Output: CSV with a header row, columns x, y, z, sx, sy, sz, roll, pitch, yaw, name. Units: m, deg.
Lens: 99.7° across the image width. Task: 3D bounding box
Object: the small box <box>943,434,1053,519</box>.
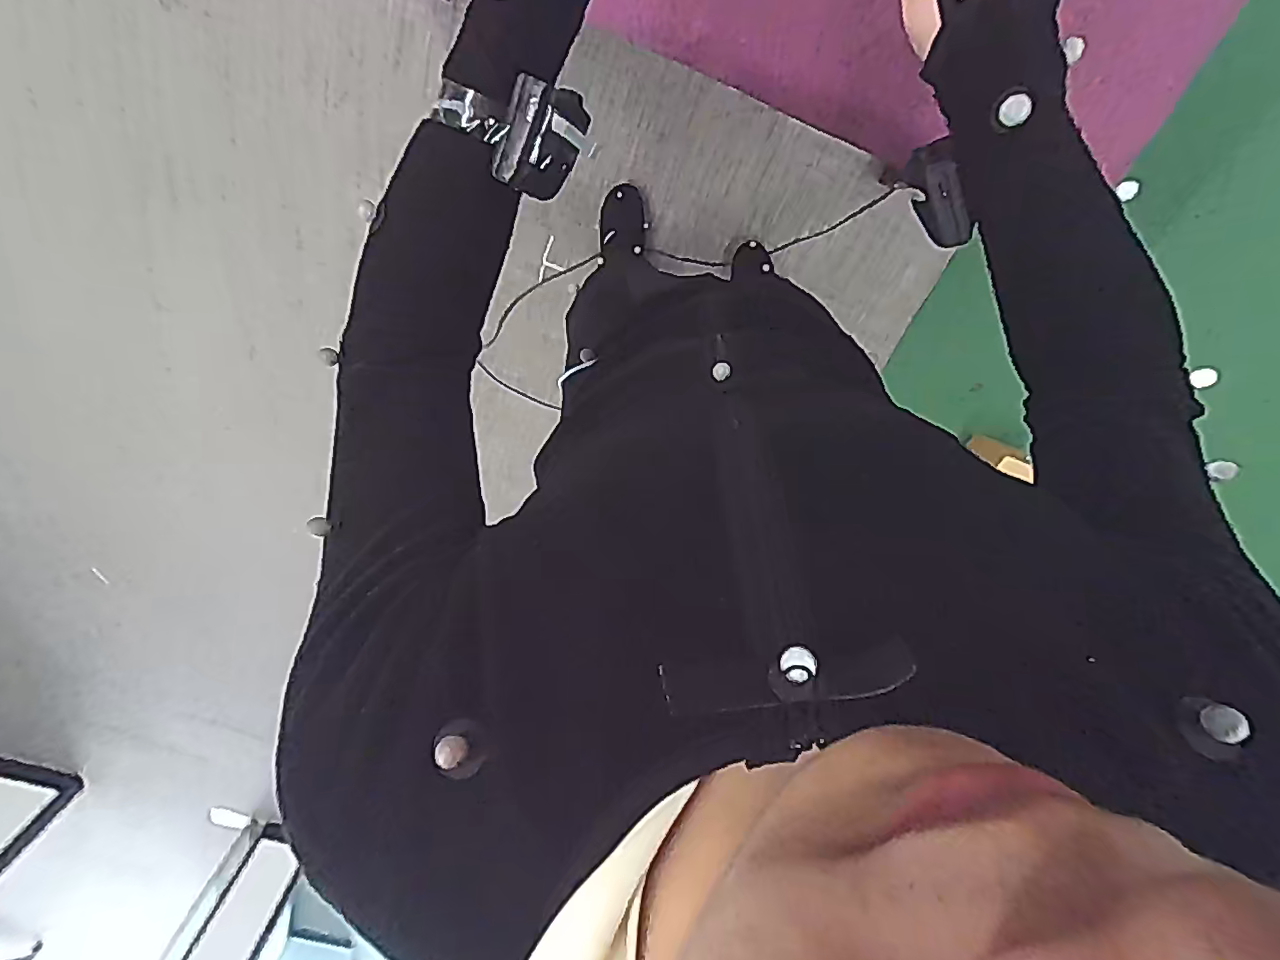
x,y,z,sx,sy,sz,roll,pitch,yaw,name
1.056,-0.017,1.612,0.179,0.176,0.168,20,117,-9,small box
